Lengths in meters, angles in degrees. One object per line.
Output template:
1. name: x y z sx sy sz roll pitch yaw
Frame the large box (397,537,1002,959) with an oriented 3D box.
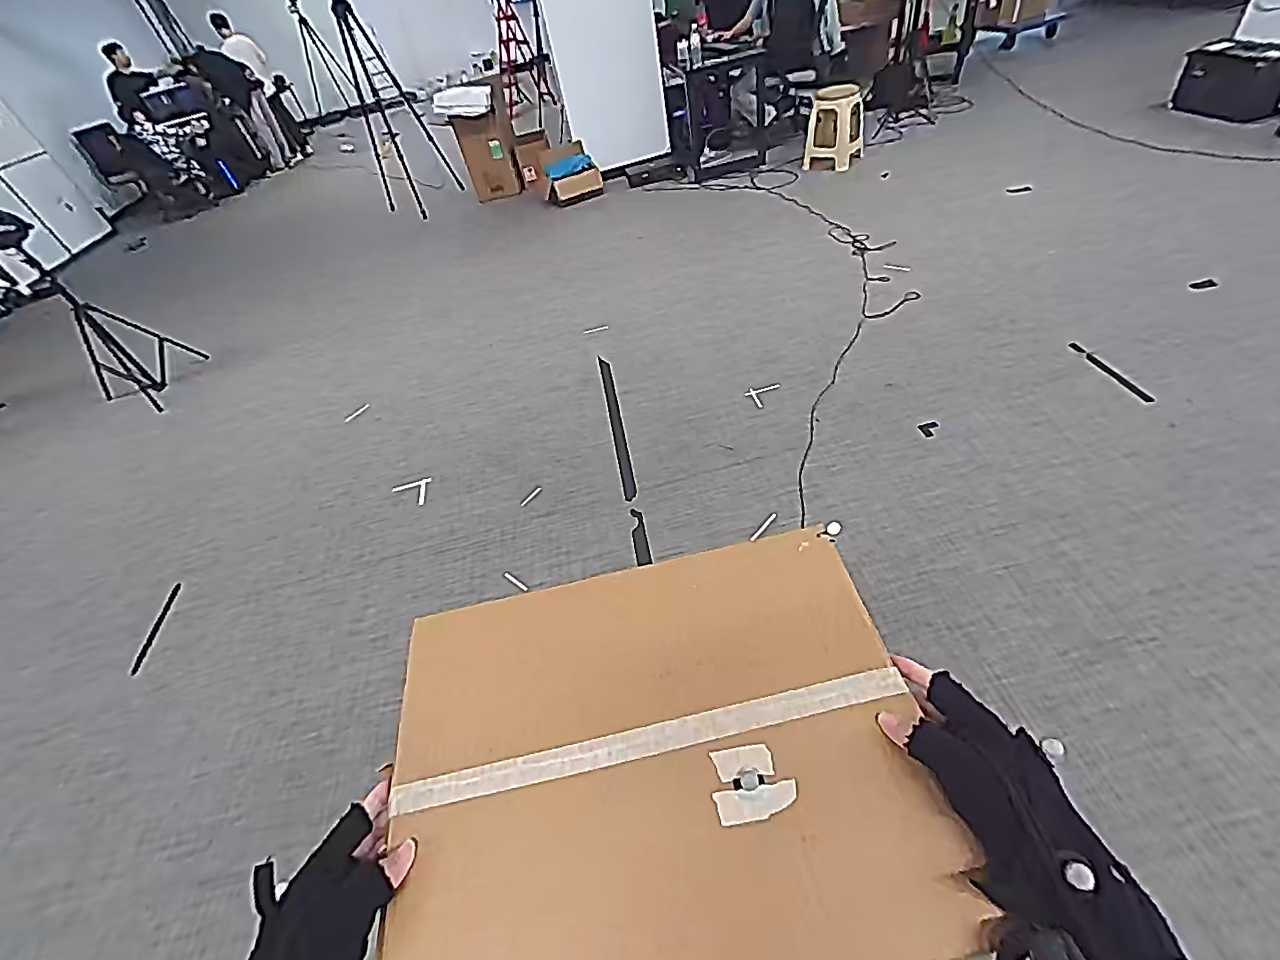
1. large box: 0.031 0.309 0.543 0.408 0.320 0.320 -13 49 0
